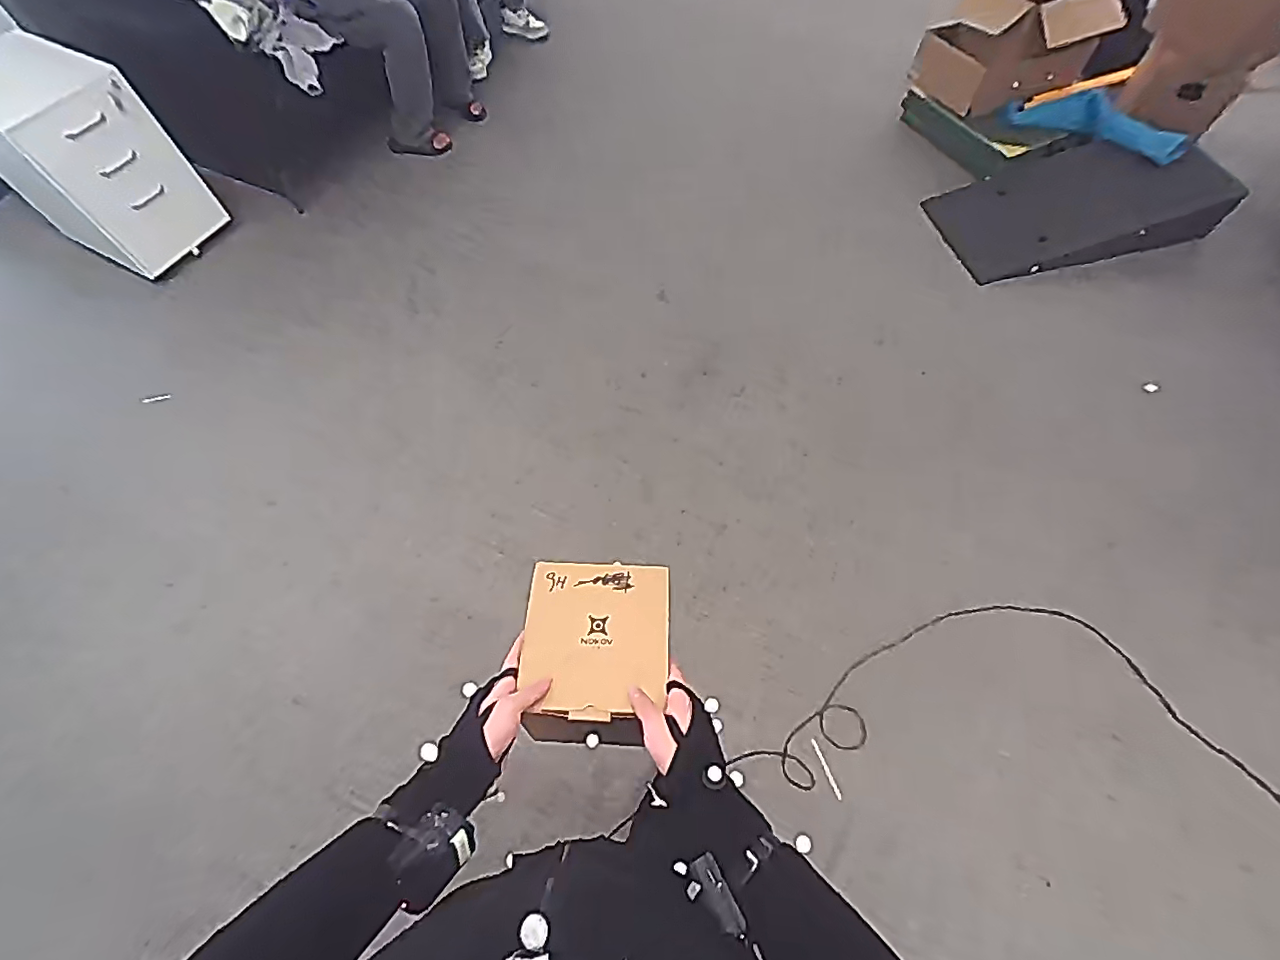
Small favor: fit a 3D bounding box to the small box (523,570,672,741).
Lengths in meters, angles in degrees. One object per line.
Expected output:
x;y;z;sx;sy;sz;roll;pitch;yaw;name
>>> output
-0.045;0.229;0.691;0.168;0.176;0.179;0;55;-1;small box
